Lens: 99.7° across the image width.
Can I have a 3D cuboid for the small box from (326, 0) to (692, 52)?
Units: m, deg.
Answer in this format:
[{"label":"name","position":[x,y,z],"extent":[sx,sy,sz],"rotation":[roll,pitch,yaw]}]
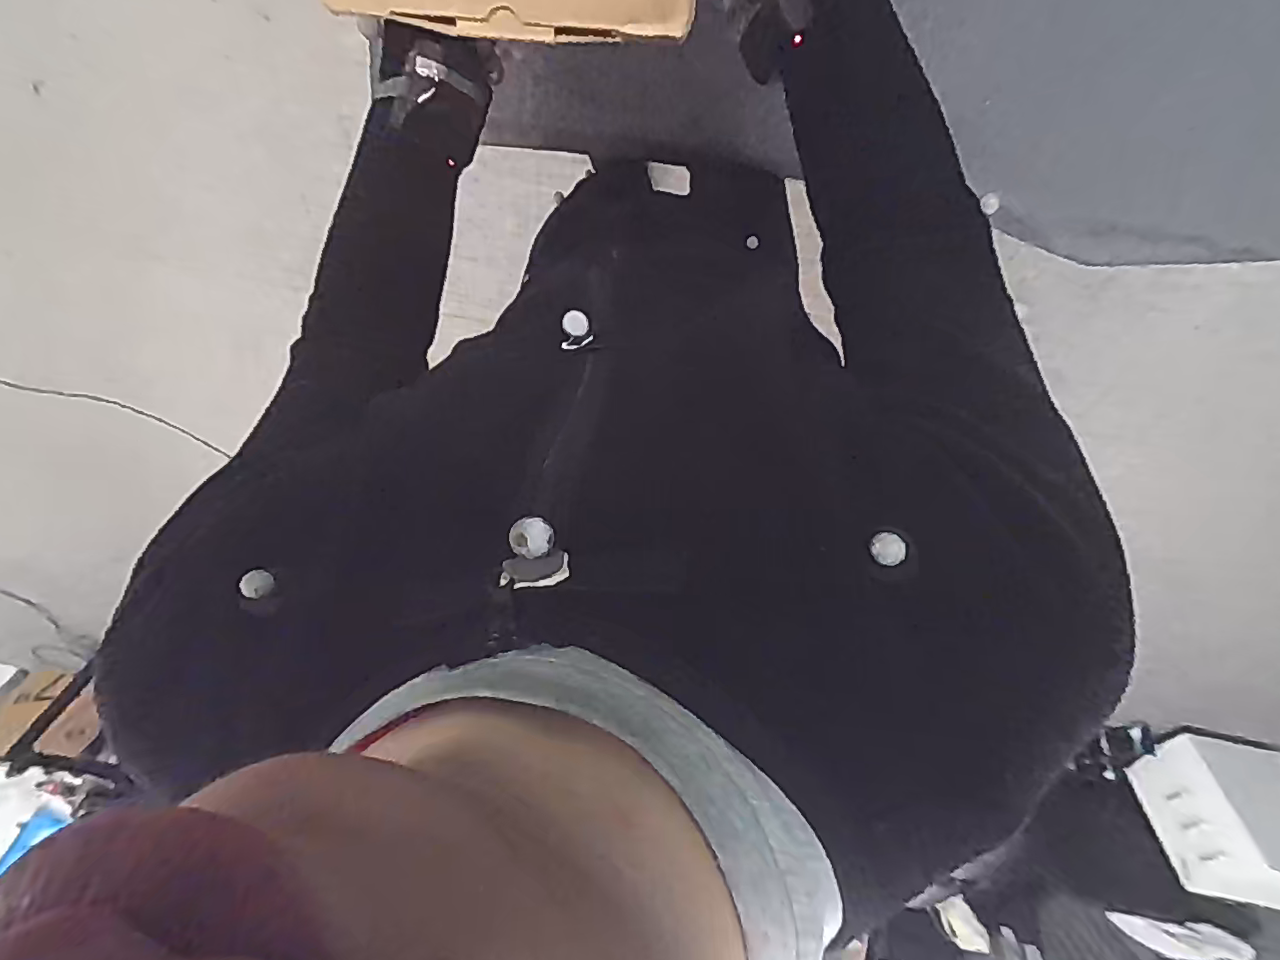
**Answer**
[{"label":"small box","position":[-0.047,-0.314,0.227],"extent":[0.168,0.176,0.179],"rotation":[5,139,1]}]
